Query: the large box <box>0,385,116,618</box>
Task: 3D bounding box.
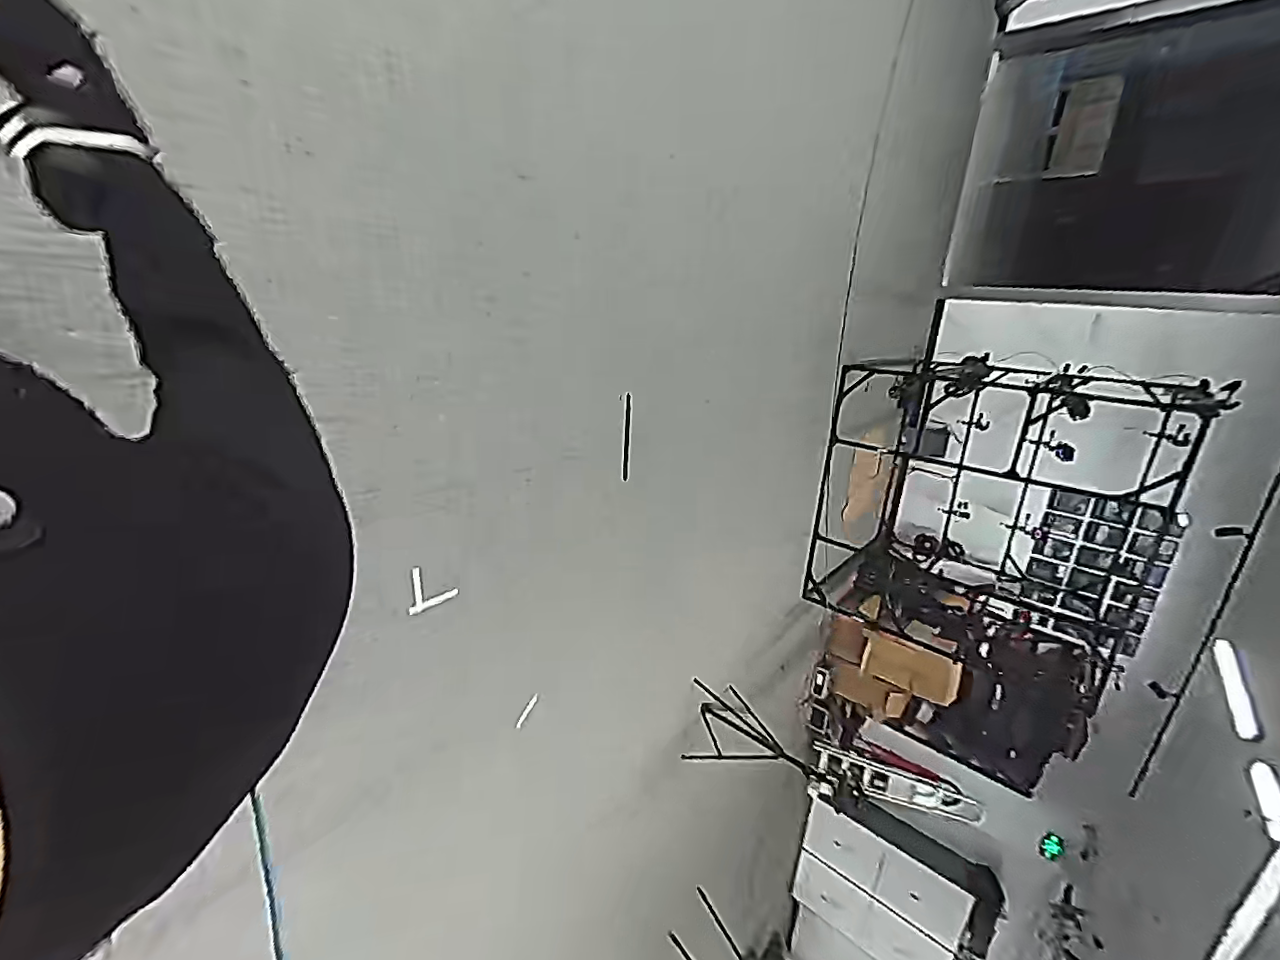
[{"bbox_3d":[-1.139,0.042,0.837,0.408,0.320,0.320,-16,117,-48],"label":"large box"}]
